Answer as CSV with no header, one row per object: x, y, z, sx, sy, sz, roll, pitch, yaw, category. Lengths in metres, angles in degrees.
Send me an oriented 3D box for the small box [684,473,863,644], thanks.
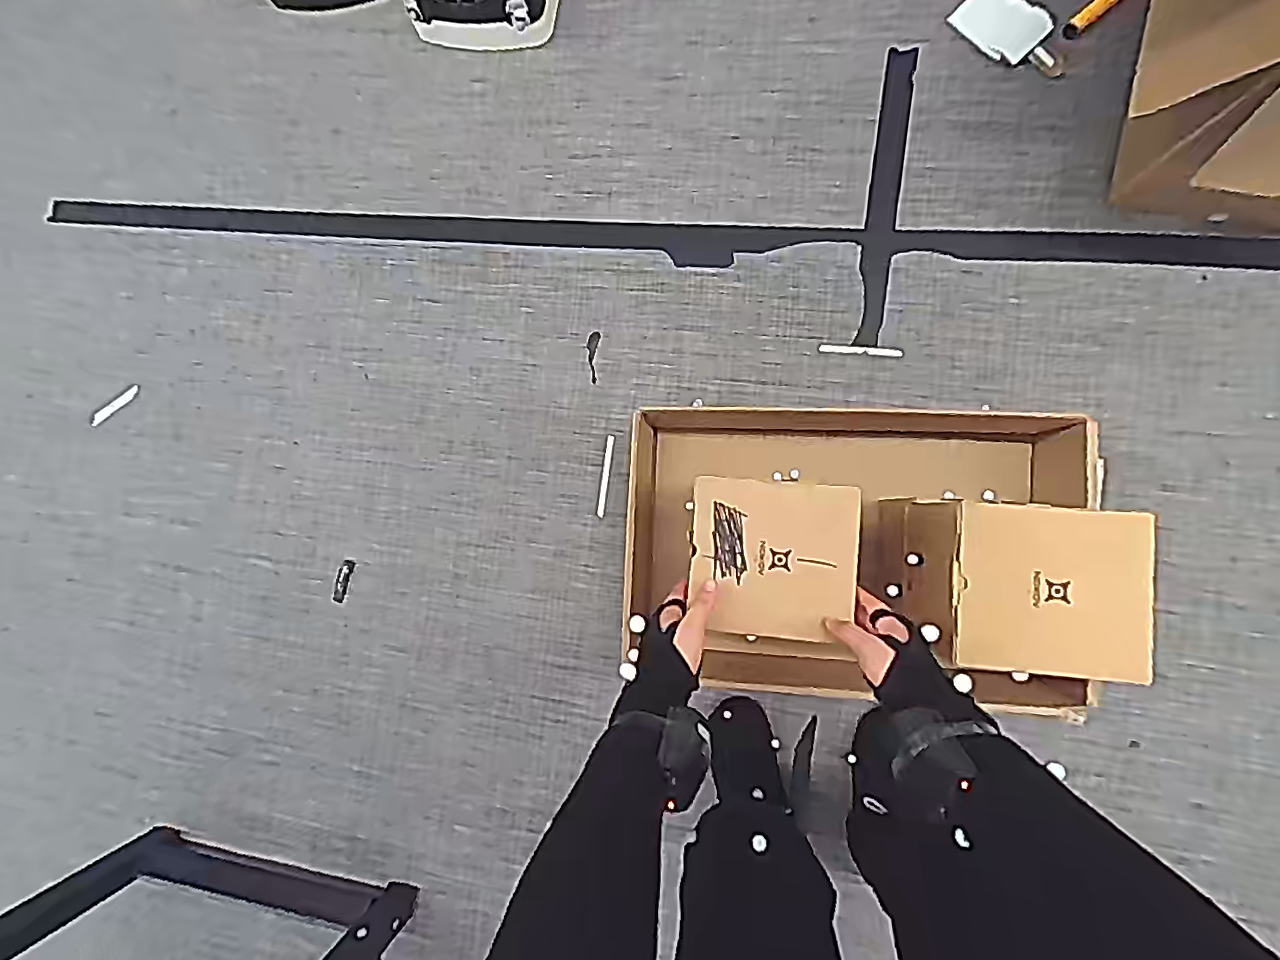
0.150,0.086,0.647,0.179,0.176,0.168,4,87,8,small box

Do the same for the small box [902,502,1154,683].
0.417,0.112,0.610,0.179,0.176,0.168,3,88,11,small box

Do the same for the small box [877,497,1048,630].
0.446,0.118,0.769,0.168,0.176,0.179,3,86,9,small box
